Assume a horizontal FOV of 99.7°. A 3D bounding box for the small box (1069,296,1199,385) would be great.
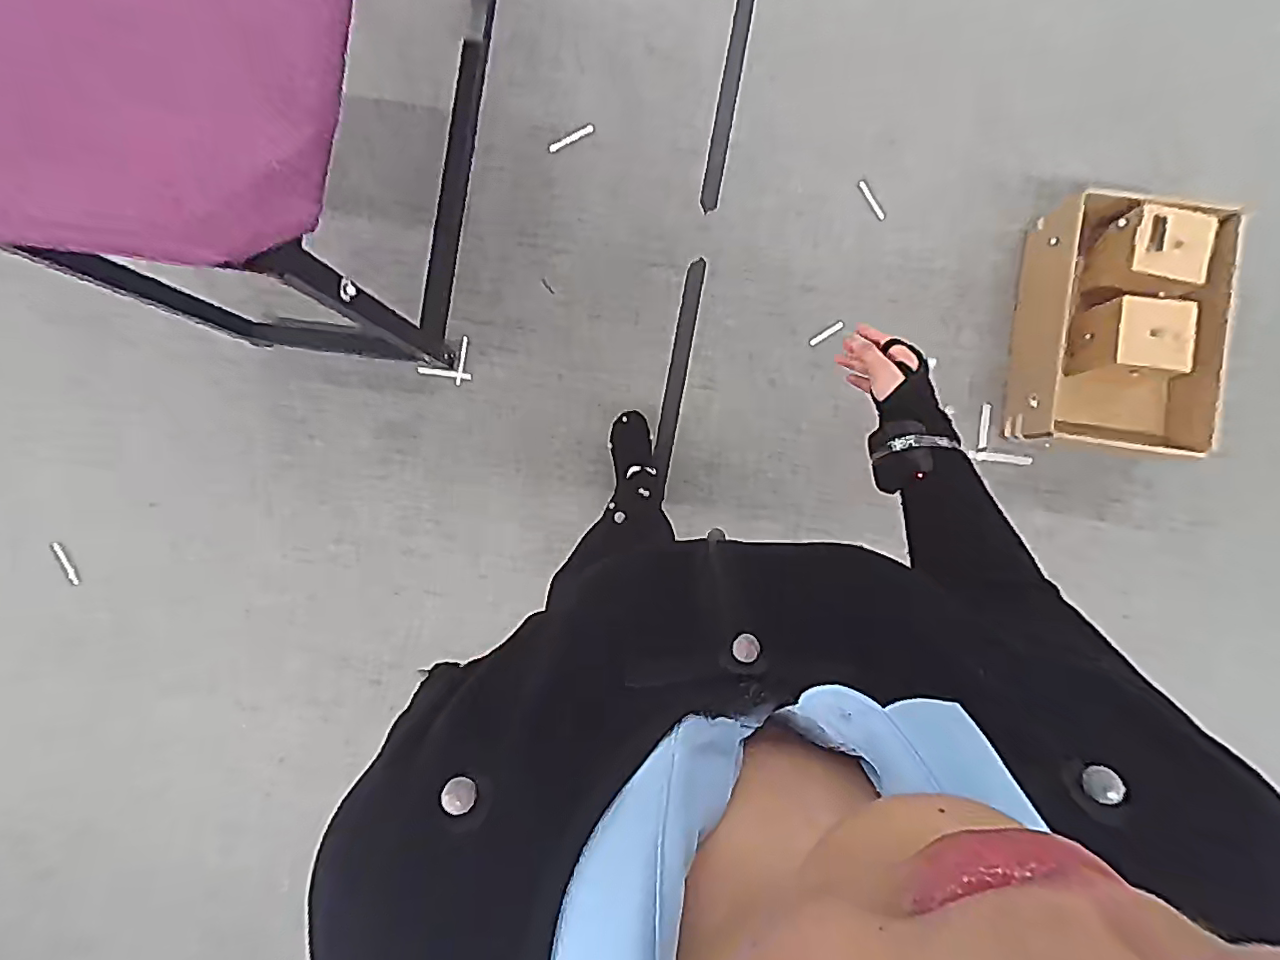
[{"bbox_3d":[1.227,-0.343,1.356,0.179,0.176,0.168,7,89,2],"label":"small box"}]
